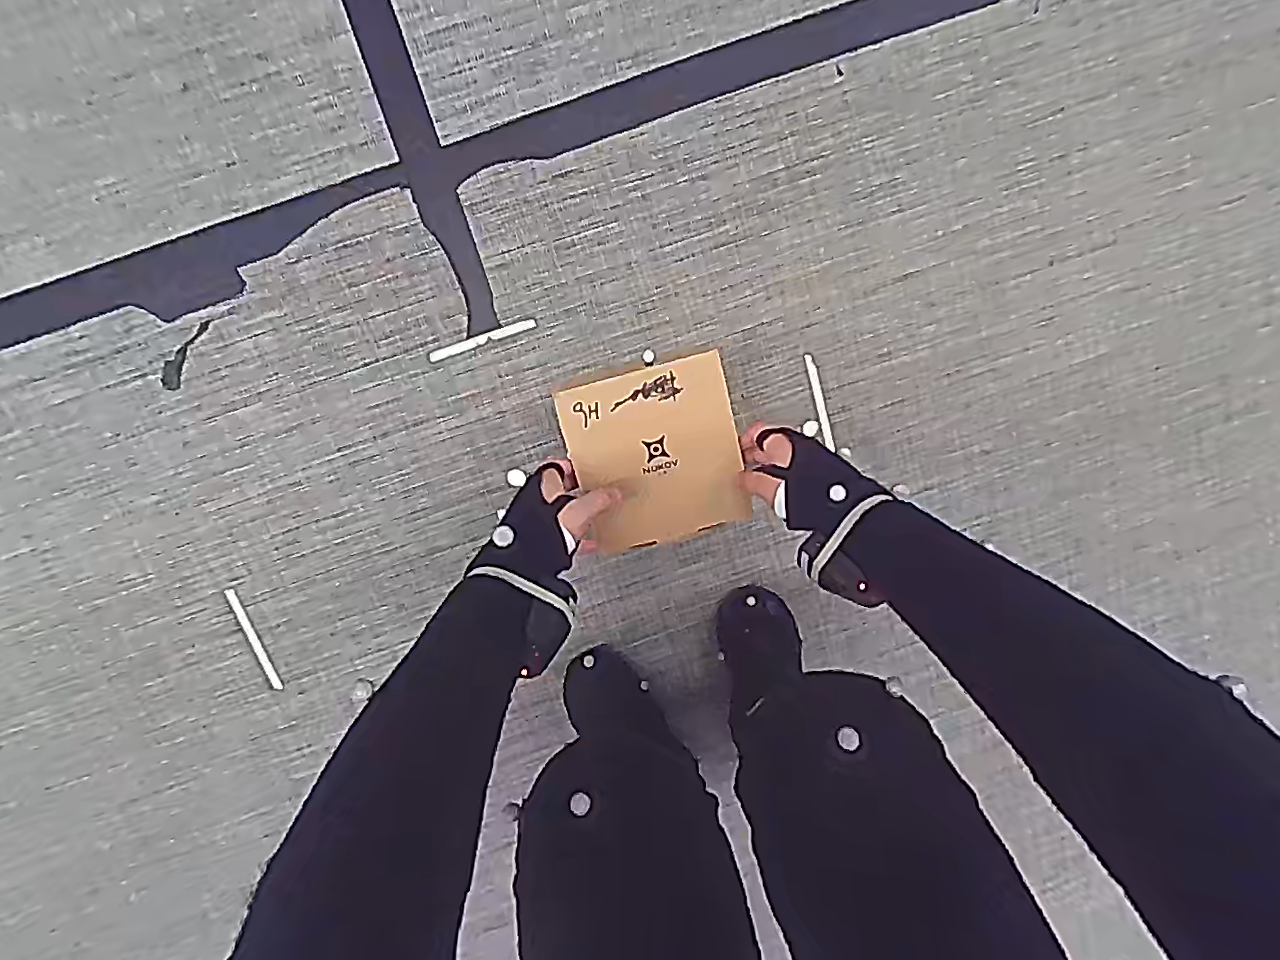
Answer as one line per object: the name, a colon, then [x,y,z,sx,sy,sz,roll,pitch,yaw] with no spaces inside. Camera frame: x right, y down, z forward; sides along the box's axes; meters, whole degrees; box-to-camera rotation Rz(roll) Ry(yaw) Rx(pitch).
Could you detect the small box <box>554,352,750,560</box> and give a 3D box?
small box: [0.012,-0.038,0.610,0.168,0.176,0.179,-15,106,0]
